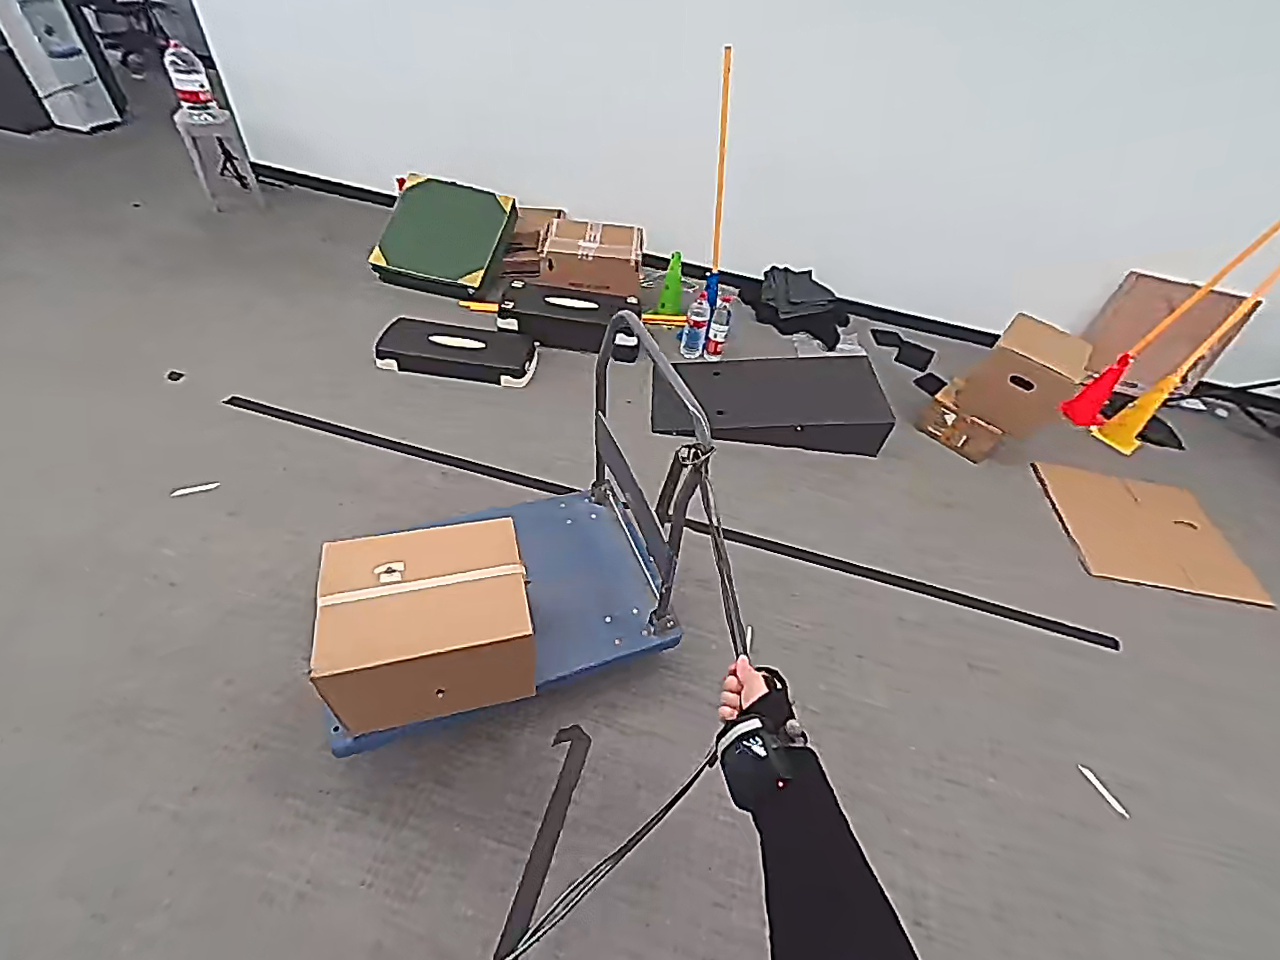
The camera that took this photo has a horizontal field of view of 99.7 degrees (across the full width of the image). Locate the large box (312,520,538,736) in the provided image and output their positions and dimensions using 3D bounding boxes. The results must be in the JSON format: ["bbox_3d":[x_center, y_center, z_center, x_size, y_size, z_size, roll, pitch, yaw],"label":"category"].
[{"bbox_3d":[-0.460,0.330,1.226,0.408,0.320,0.320,-8,48,-16],"label":"large box"}]
